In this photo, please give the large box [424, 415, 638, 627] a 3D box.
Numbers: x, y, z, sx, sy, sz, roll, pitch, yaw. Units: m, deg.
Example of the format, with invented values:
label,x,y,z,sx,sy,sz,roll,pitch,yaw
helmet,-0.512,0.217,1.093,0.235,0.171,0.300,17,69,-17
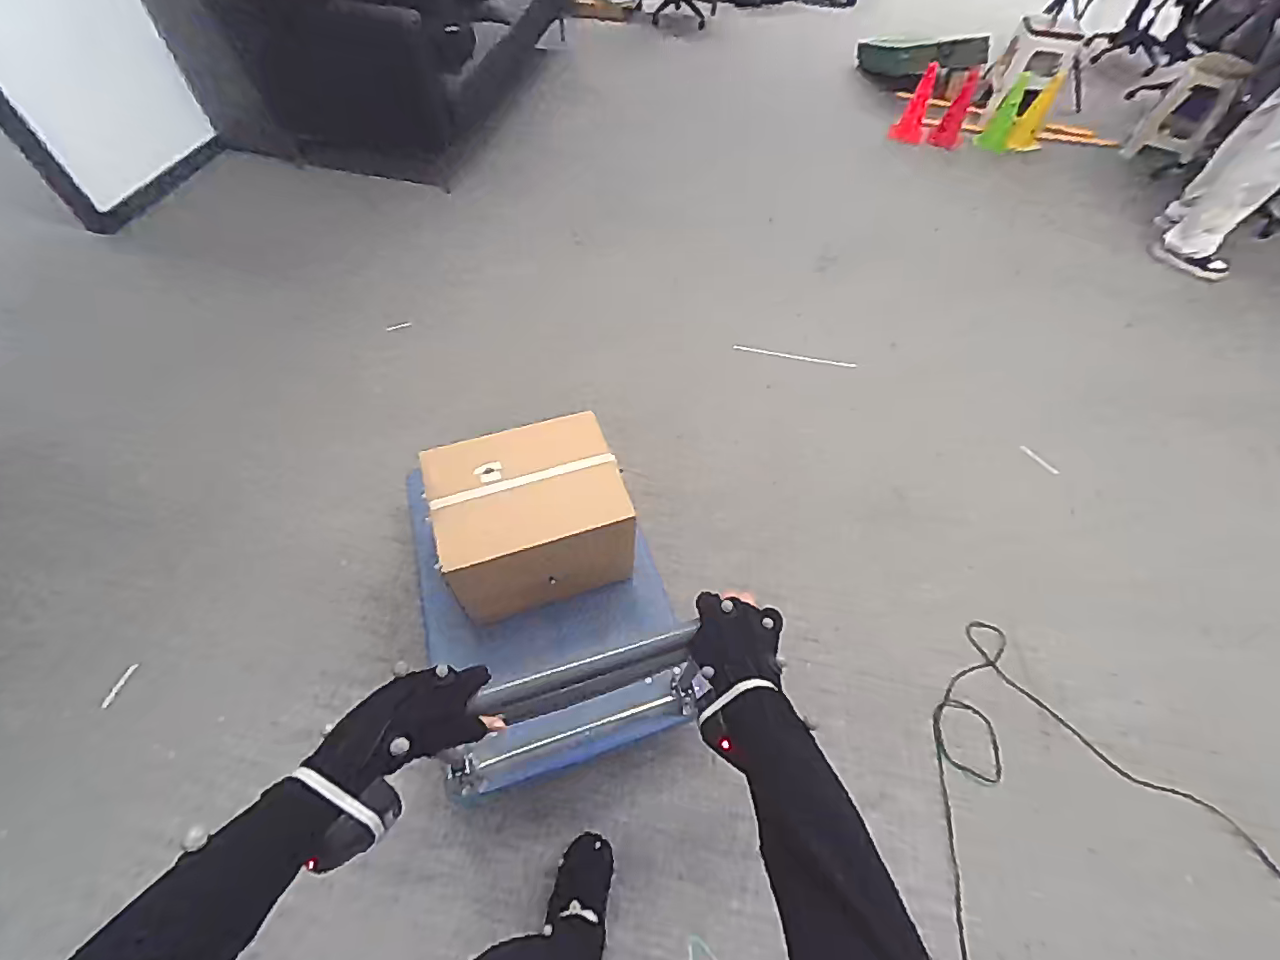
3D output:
label,x,y,z,sx,sy,sz,roll,pitch,yaw
large box,-0.246,0.102,1.293,0.408,0.320,0.320,-17,58,-13
